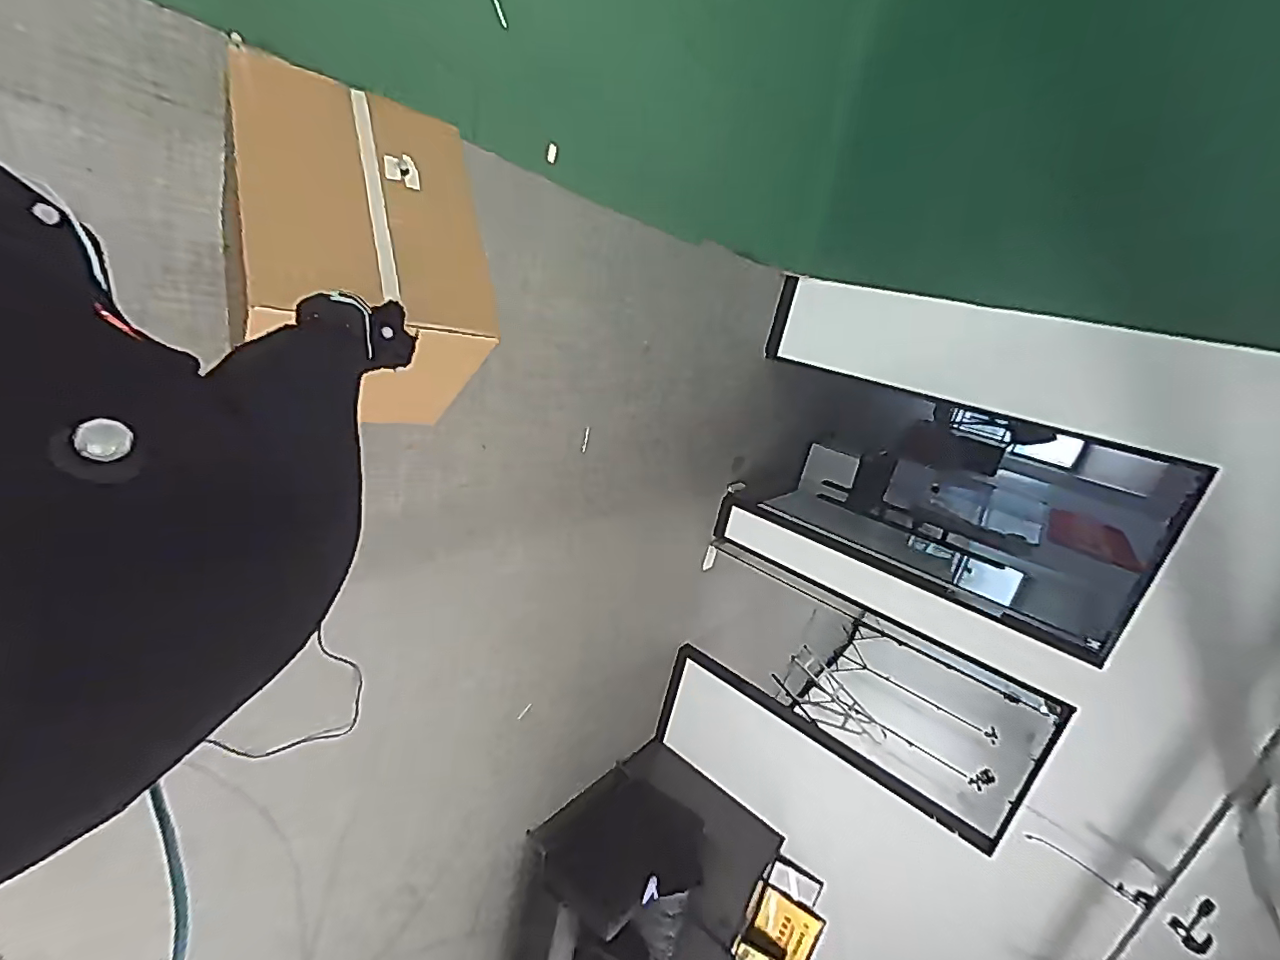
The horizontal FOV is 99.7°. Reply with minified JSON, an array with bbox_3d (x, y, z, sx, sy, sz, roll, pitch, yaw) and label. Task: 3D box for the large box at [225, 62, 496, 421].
[{"bbox_3d":[-0.475,-0.339,0.889,0.320,0.320,0.408,-3,71,-40],"label":"large box"}]
